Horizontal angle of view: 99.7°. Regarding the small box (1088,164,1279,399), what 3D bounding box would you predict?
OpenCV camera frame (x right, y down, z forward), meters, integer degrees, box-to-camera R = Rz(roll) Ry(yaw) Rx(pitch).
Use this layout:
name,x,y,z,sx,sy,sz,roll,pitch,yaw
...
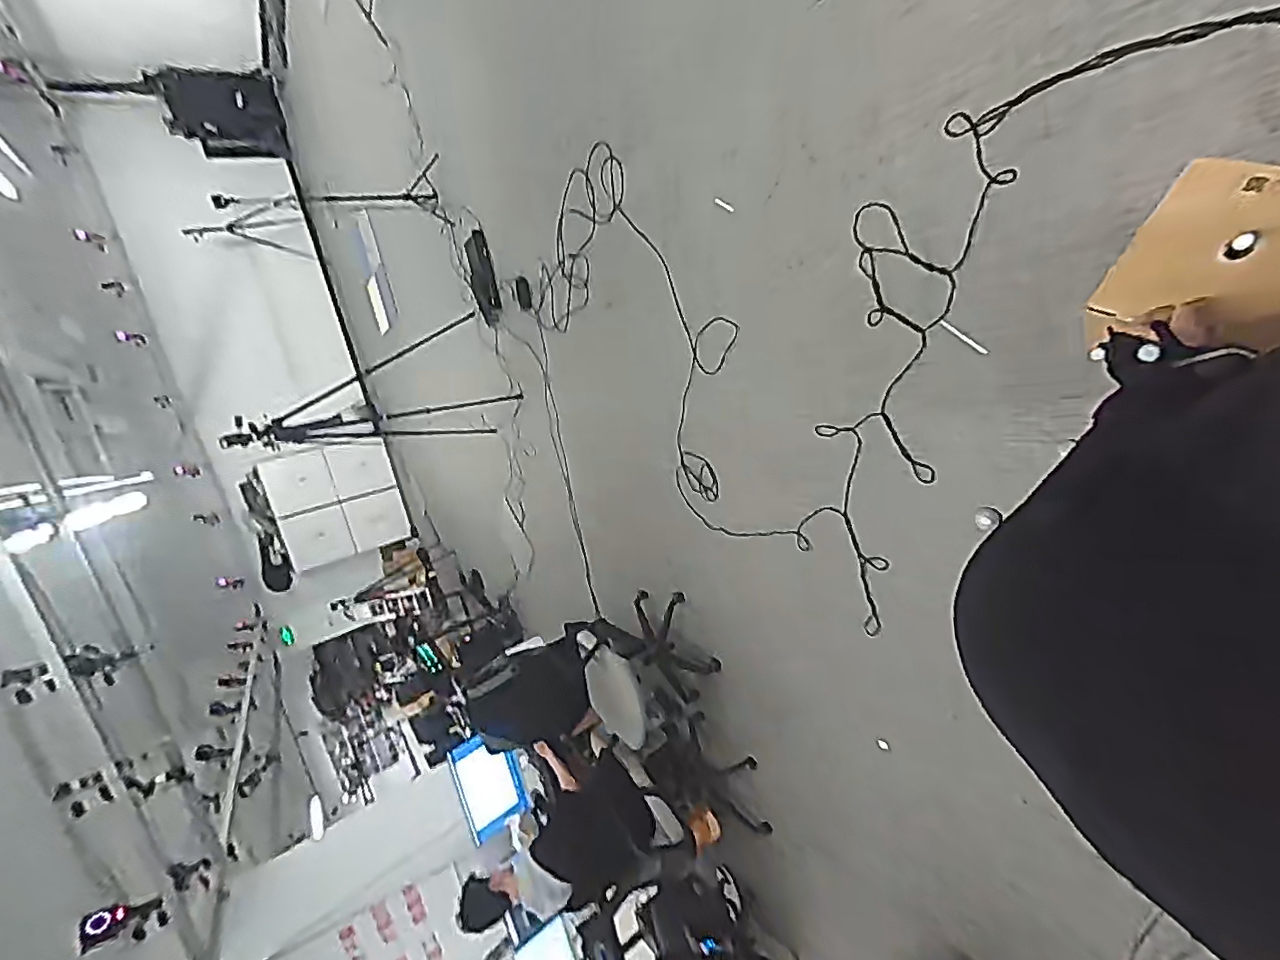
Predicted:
name,x,y,z,sx,sy,sz,roll,pitch,yaw
small box,0.638,-0.214,0.594,0.168,0.179,0.176,38,108,37
